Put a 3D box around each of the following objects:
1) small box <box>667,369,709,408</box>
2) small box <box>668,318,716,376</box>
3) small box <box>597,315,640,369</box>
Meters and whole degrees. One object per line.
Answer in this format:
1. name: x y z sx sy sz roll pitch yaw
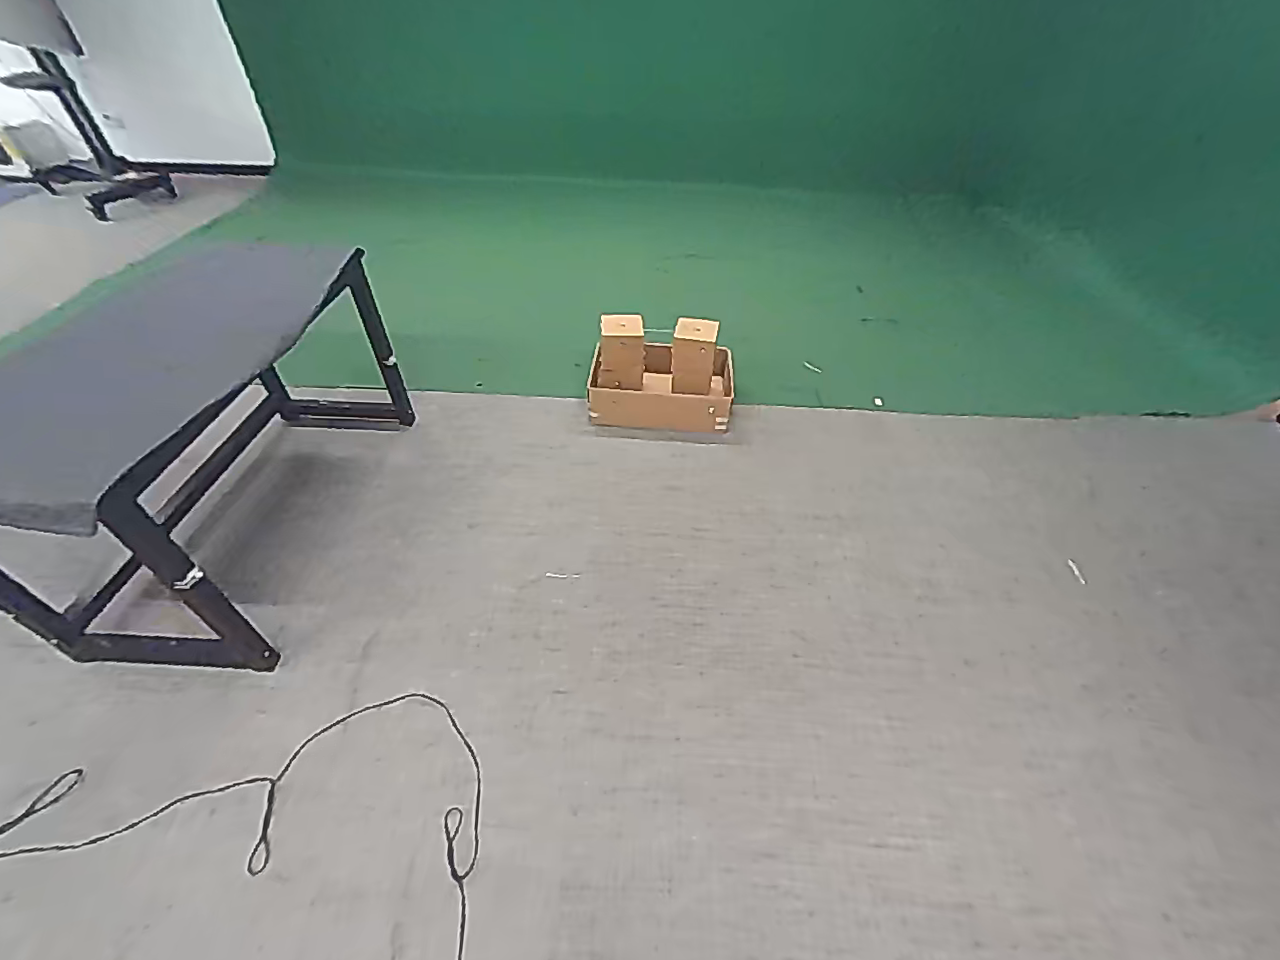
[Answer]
1. small box: 0.214 -0.447 2.406 0.168 0.176 0.179 8 47 7
2. small box: 0.218 -0.560 2.286 0.179 0.176 0.168 9 45 8
3. small box: -0.094 -0.584 2.295 0.179 0.176 0.168 -1 46 -6
